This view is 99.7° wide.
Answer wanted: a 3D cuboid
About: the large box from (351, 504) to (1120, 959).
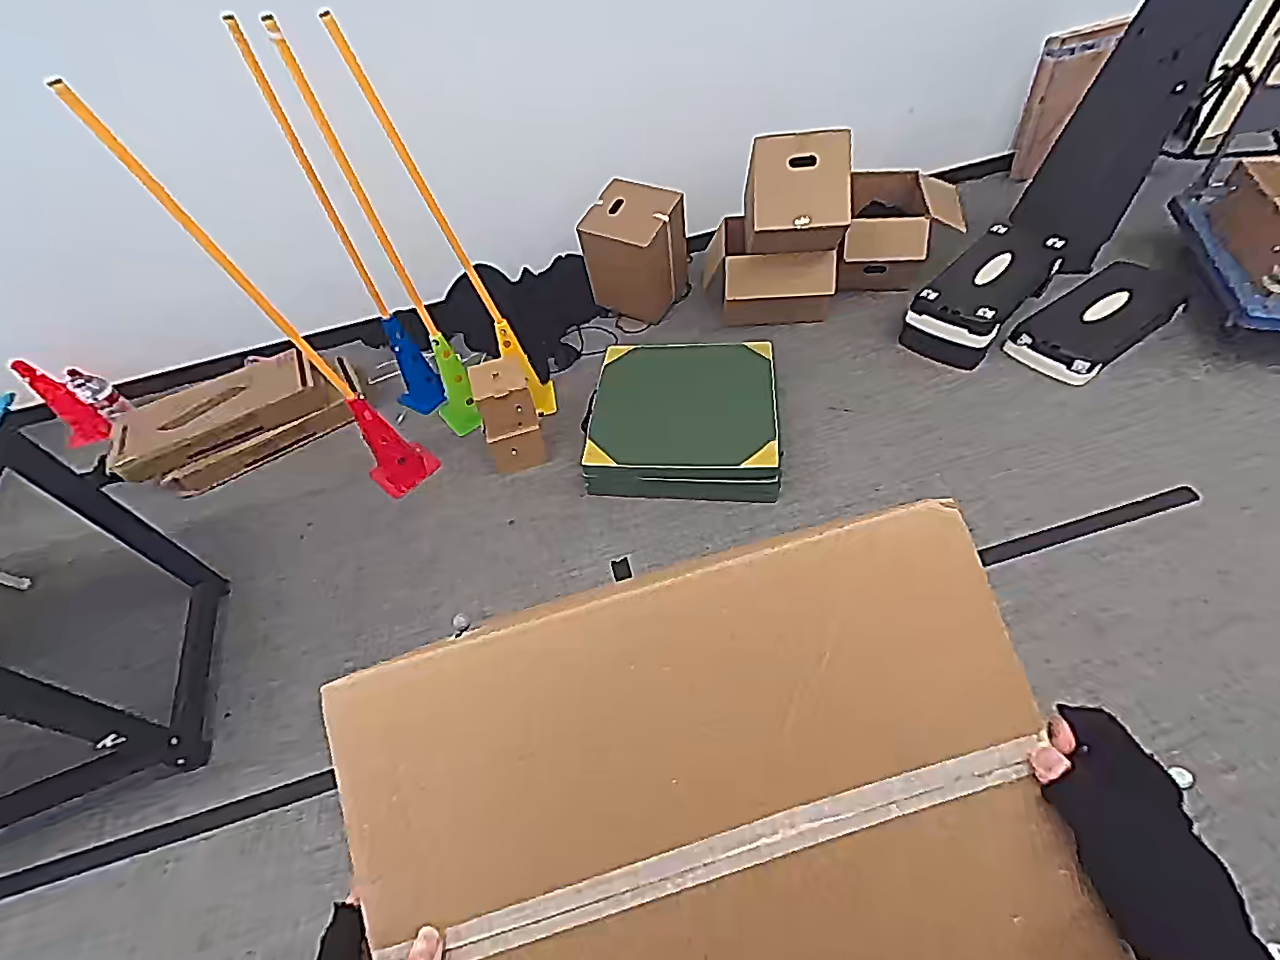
[{"bbox_3d":[0.050,0.241,0.469,0.408,0.320,0.320,-17,82,-2],"label":"large box"}]
